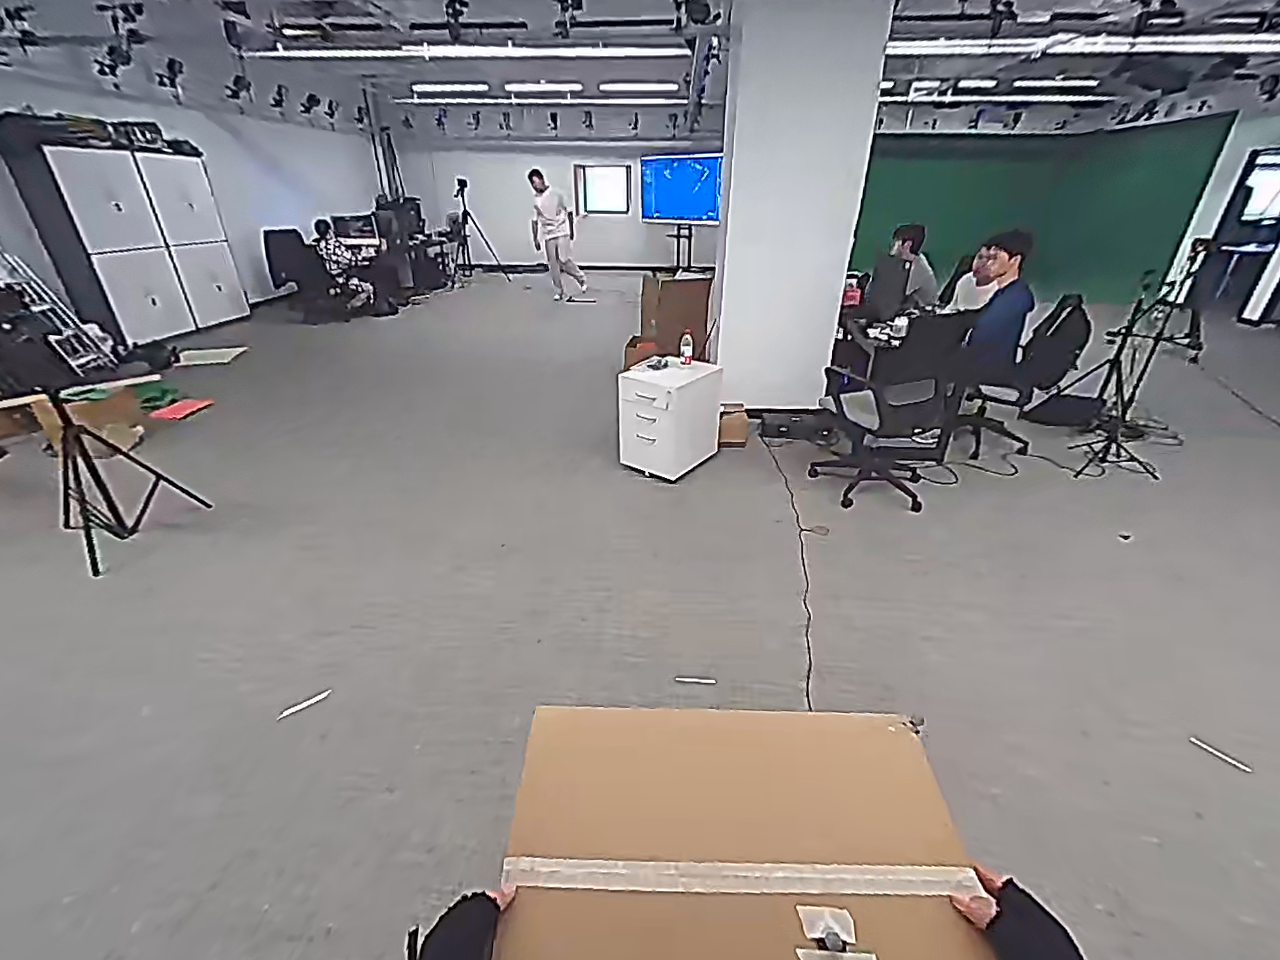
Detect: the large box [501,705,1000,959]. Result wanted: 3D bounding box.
[{"bbox_3d":[0.087,0.465,0.564,0.408,0.320,0.320,1,36,1],"label":"large box"}]
